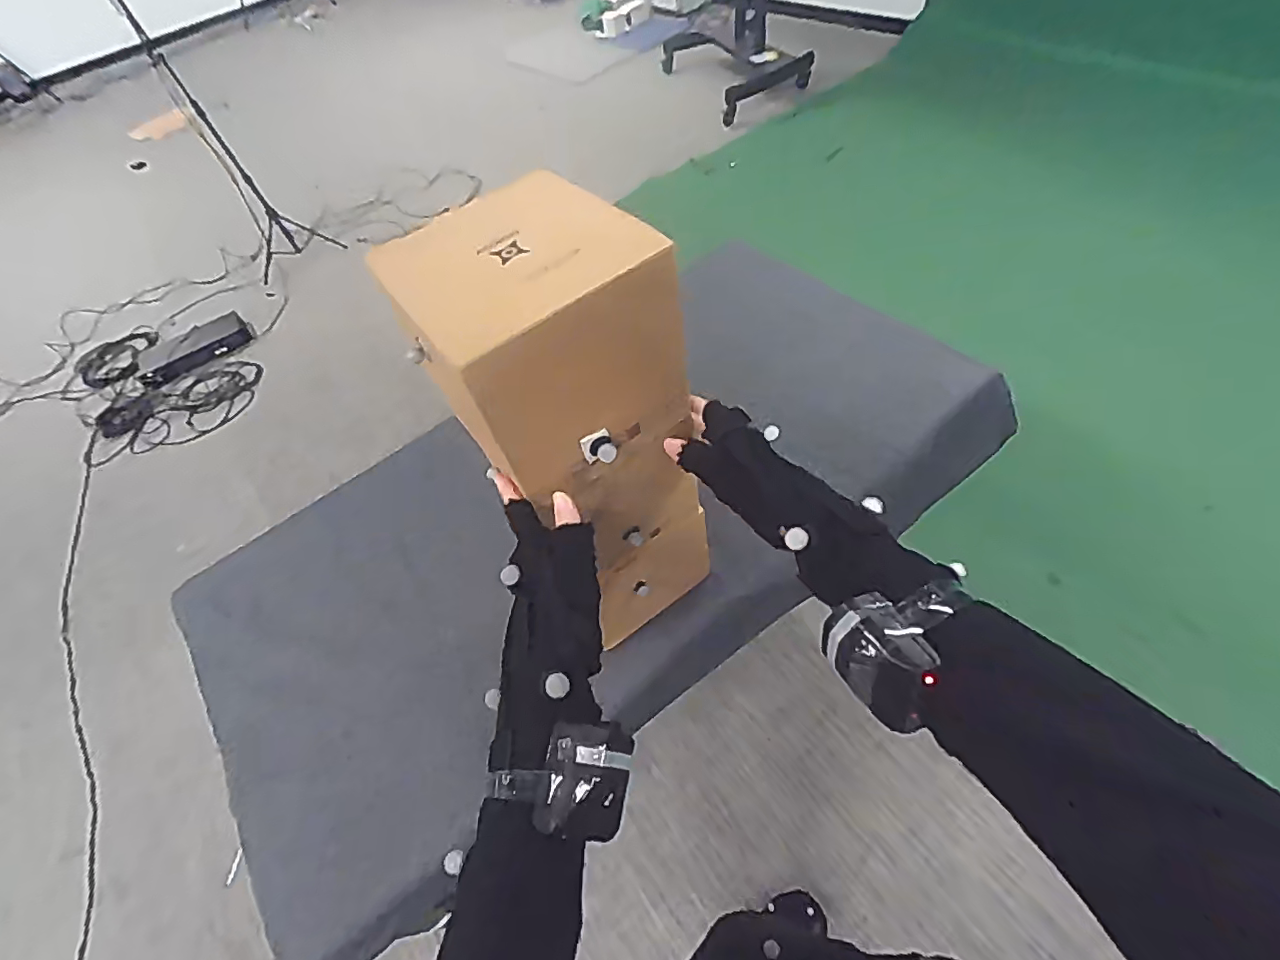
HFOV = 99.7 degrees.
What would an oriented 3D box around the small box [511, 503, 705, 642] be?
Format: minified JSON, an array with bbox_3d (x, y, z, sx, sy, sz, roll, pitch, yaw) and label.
[{"bbox_3d":[-0.032,0.078,0.700,0.179,0.176,0.168,-35,56,-13],"label":"small box"}]

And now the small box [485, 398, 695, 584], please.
[{"bbox_3d":[-0.061,-0.023,0.575,0.168,0.176,0.179,-36,54,-15],"label":"small box"}]

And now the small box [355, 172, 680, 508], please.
[{"bbox_3d":[-0.086,-0.110,0.440,0.168,0.176,0.179,-37,57,-14],"label":"small box"}]
